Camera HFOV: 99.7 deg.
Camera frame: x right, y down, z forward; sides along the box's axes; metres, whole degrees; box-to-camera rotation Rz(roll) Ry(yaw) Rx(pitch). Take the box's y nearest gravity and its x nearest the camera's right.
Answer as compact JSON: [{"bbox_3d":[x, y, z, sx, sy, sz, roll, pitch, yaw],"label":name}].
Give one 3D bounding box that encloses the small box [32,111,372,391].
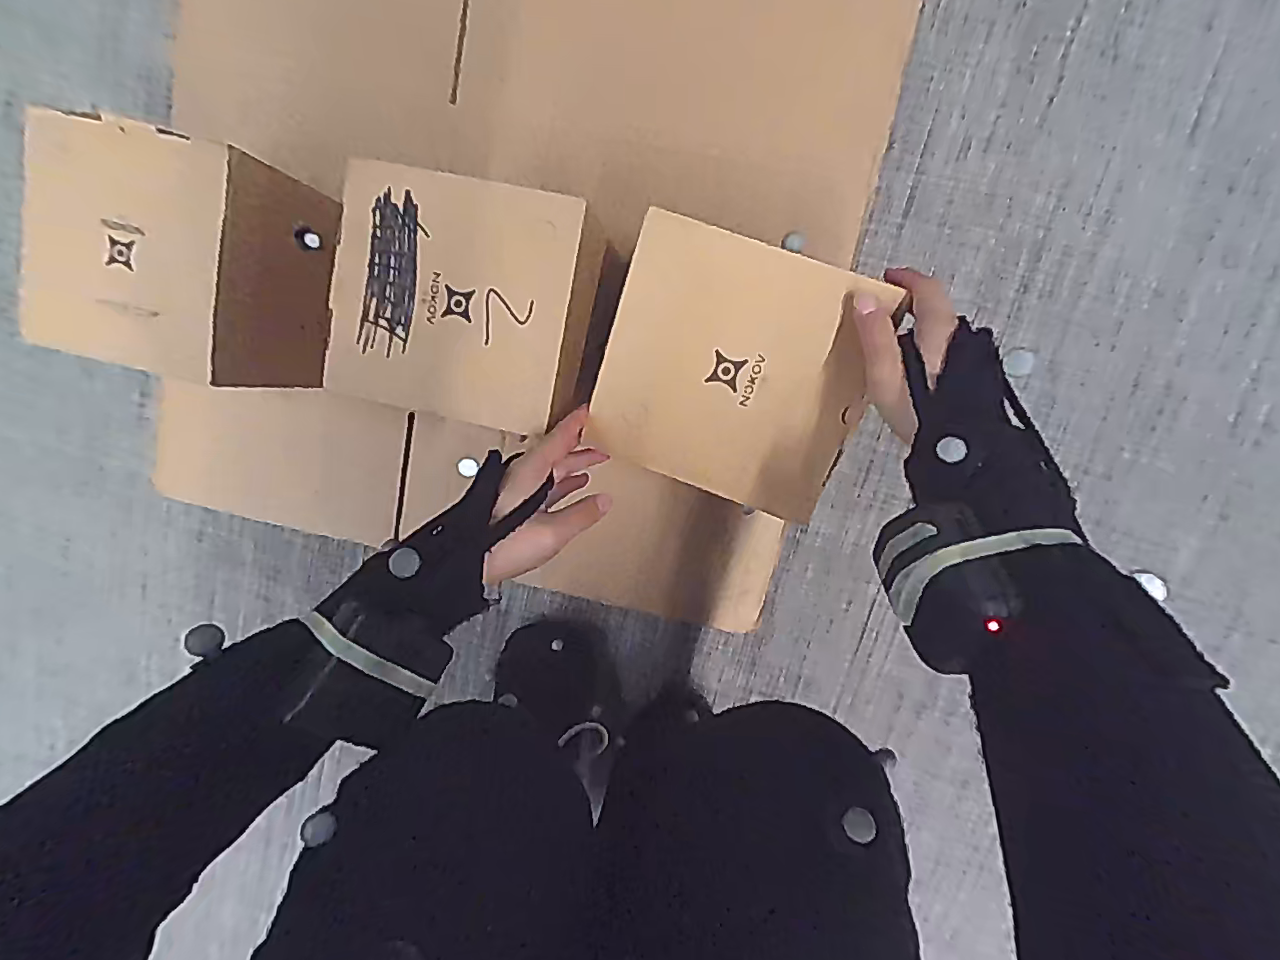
[{"bbox_3d":[-0.369,-0.182,0.484,0.168,0.176,0.179,13,101,5],"label":"small box"}]
